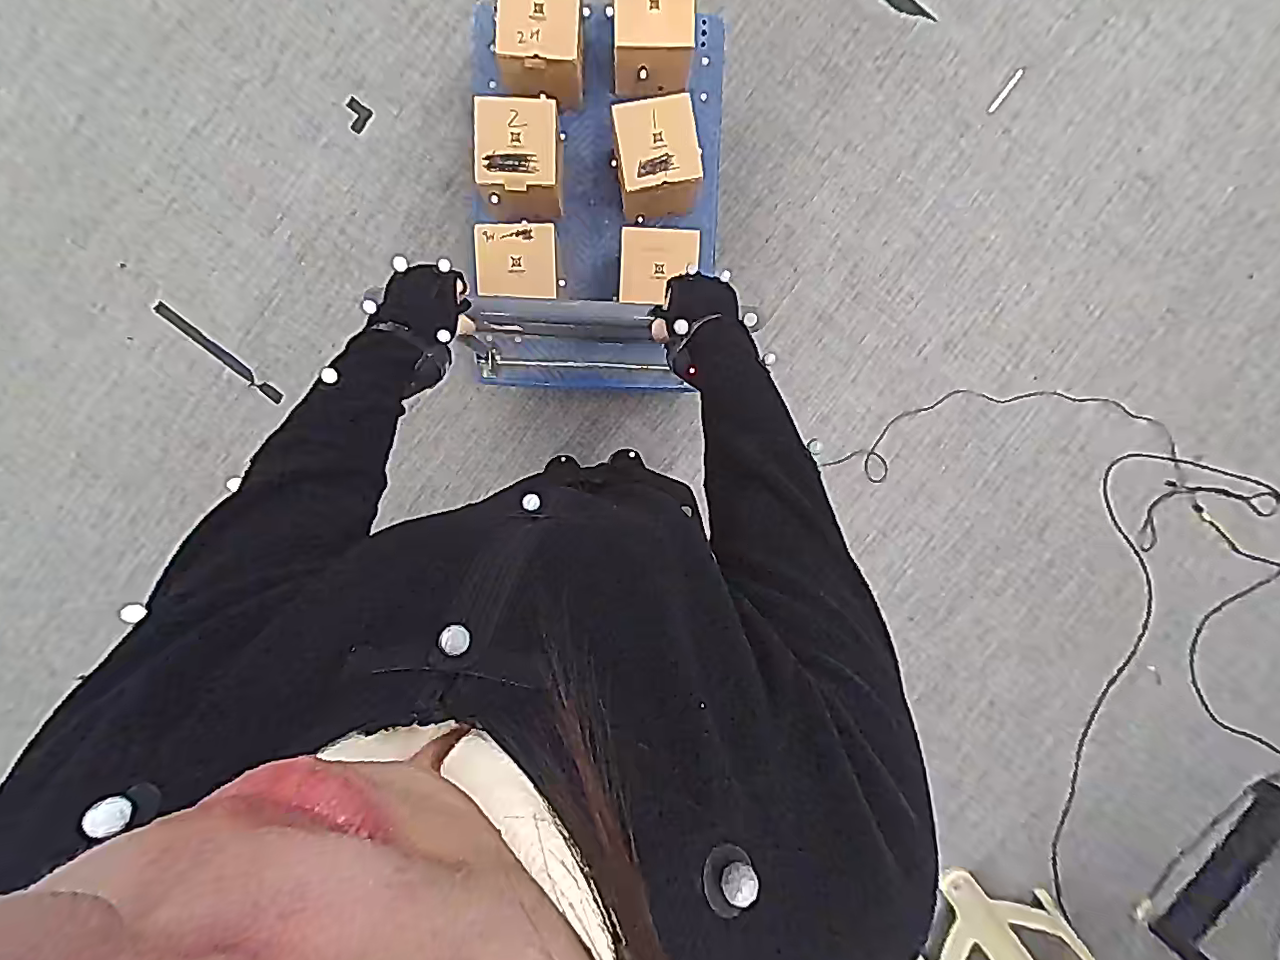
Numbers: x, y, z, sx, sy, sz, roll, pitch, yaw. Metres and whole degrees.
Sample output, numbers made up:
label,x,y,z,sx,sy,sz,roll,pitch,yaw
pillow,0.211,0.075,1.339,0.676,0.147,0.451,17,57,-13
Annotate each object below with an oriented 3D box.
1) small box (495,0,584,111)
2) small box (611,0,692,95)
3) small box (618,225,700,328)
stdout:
label,x,y,z,sx,sy,sz,roll,pitch,yaw
small box,-0.210,-0.945,1.167,0.168,0.176,0.179,3,95,-2
small box,0.023,-0.976,1.176,0.168,0.176,0.179,-2,94,-2
small box,0.037,-0.447,1.215,0.168,0.176,0.179,2,93,-3
